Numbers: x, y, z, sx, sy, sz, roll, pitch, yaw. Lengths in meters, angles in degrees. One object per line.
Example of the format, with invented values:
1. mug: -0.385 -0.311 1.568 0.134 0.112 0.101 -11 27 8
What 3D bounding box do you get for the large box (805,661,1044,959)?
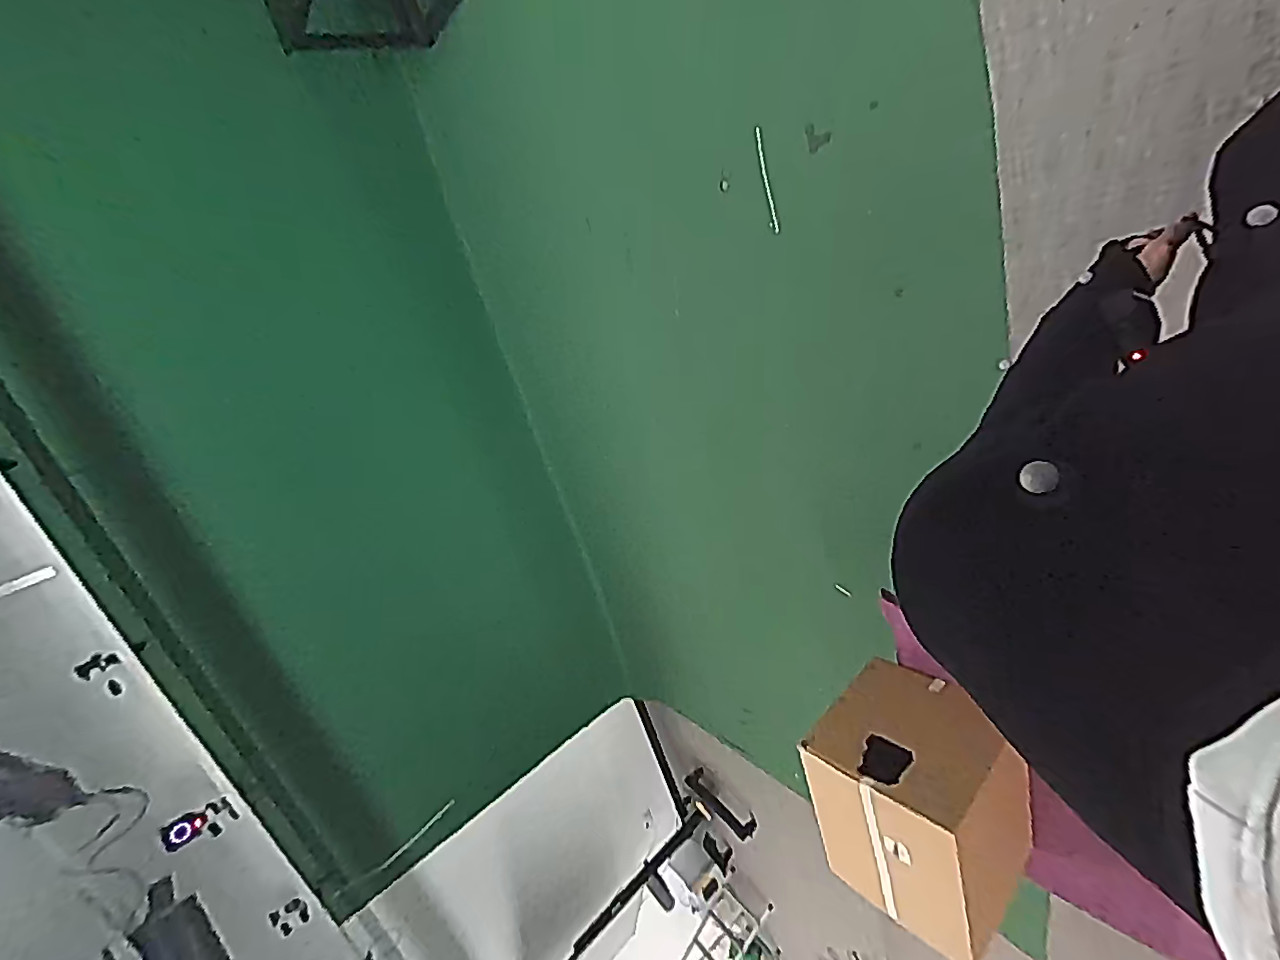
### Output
1. large box: 0.602 0.673 1.133 0.320 0.320 0.408 7 120 52
